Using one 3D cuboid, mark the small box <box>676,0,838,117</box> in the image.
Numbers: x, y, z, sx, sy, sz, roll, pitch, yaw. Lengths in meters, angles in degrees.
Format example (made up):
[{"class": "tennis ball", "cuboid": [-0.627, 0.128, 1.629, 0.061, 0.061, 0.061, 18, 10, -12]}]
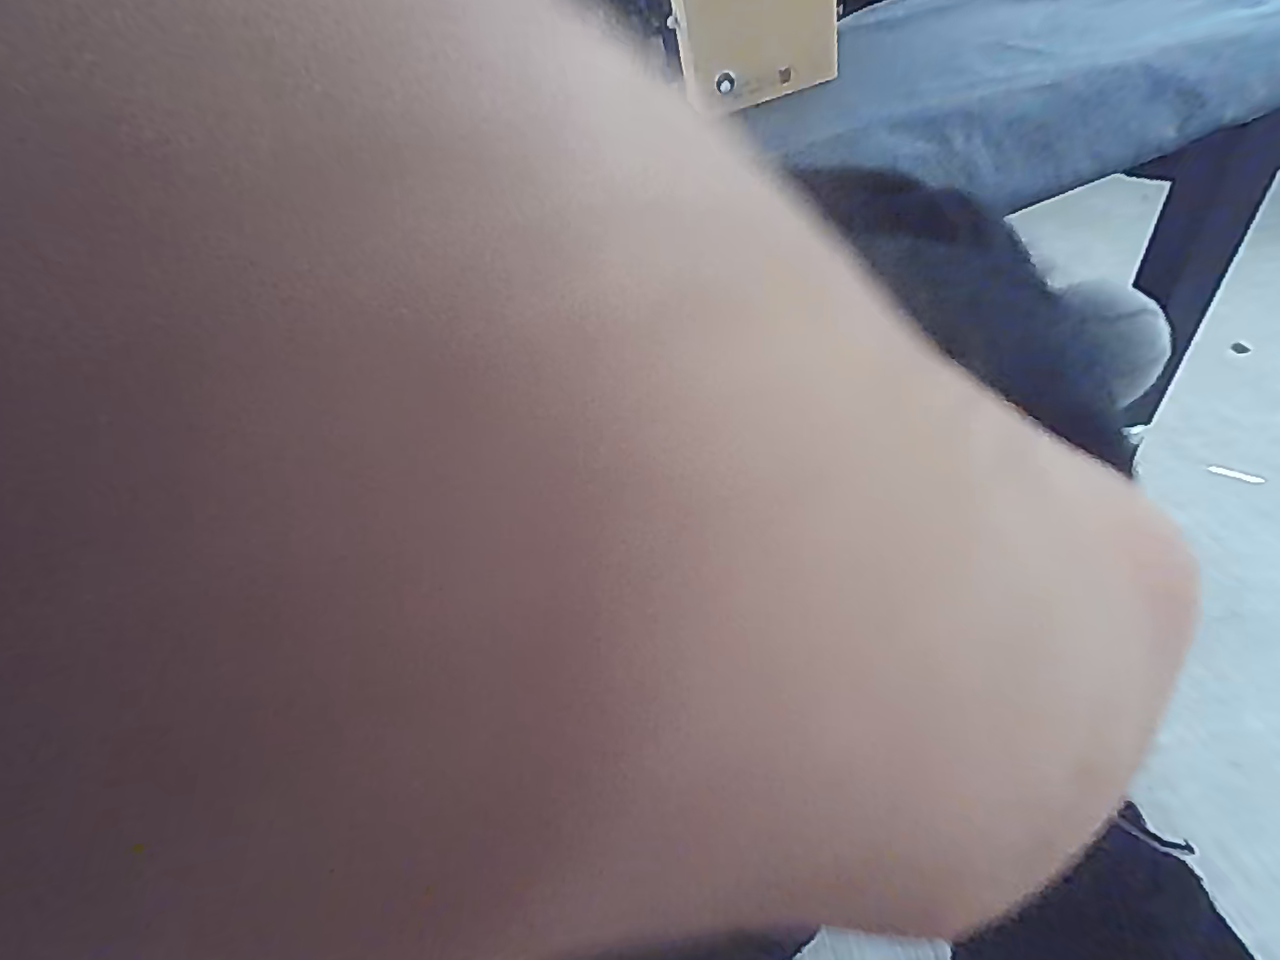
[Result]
[{"class": "small box", "cuboid": [0.137, -0.572, 0.661, 0.168, 0.176, 0.179, -12, 43, 9]}]
